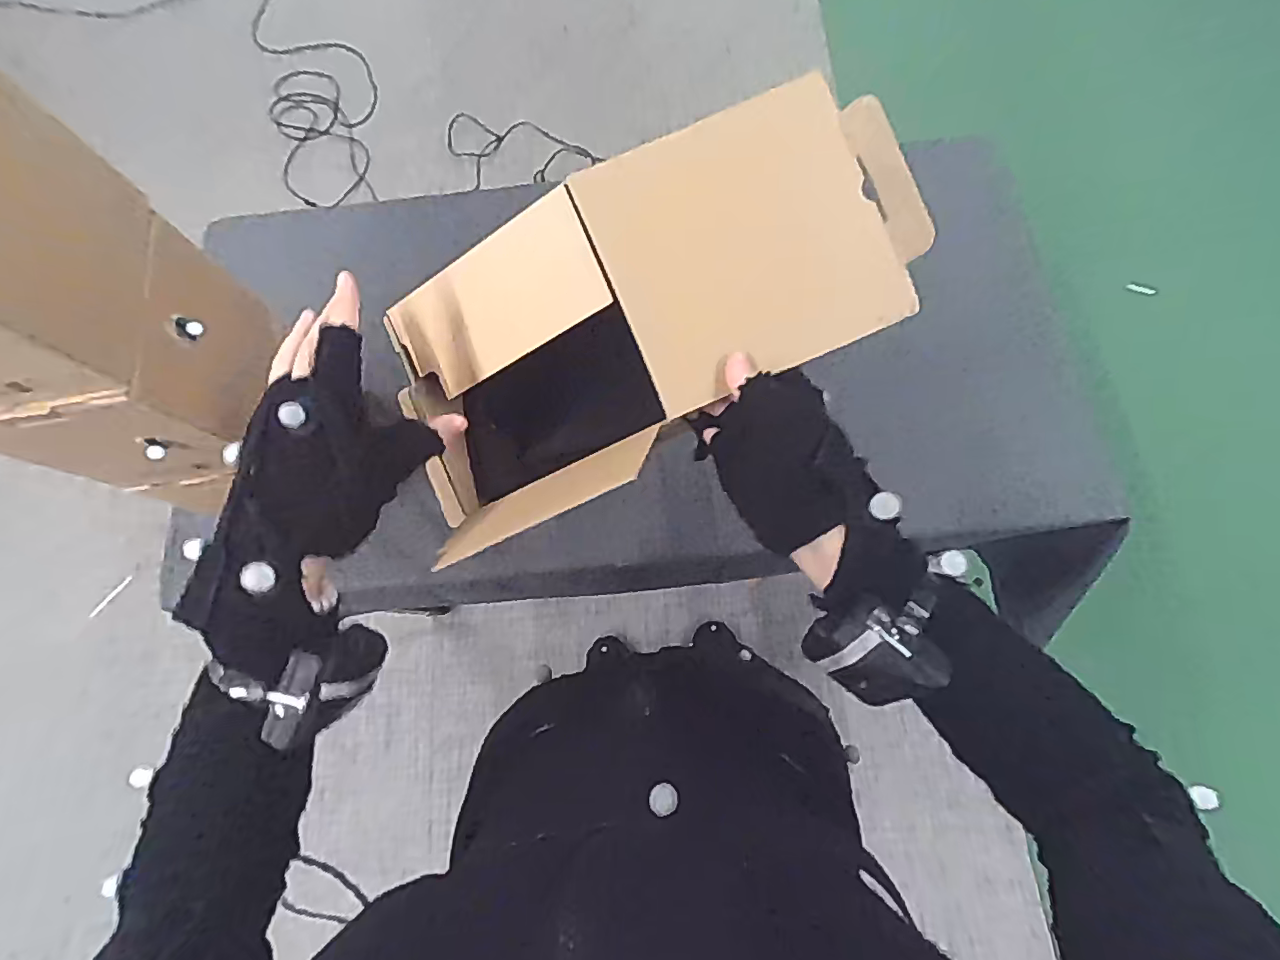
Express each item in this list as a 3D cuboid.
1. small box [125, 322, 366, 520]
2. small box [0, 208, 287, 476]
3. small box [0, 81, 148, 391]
[{"bbox_3d":[-0.455,-0.062,0.655,0.168,0.176,0.179,-8,74,0],"label":"small box"},{"bbox_3d":[-0.461,-0.110,0.499,0.168,0.176,0.179,-8,73,0],"label":"small box"},{"bbox_3d":[-0.470,-0.164,0.345,0.168,0.176,0.179,-9,73,-1],"label":"small box"}]
